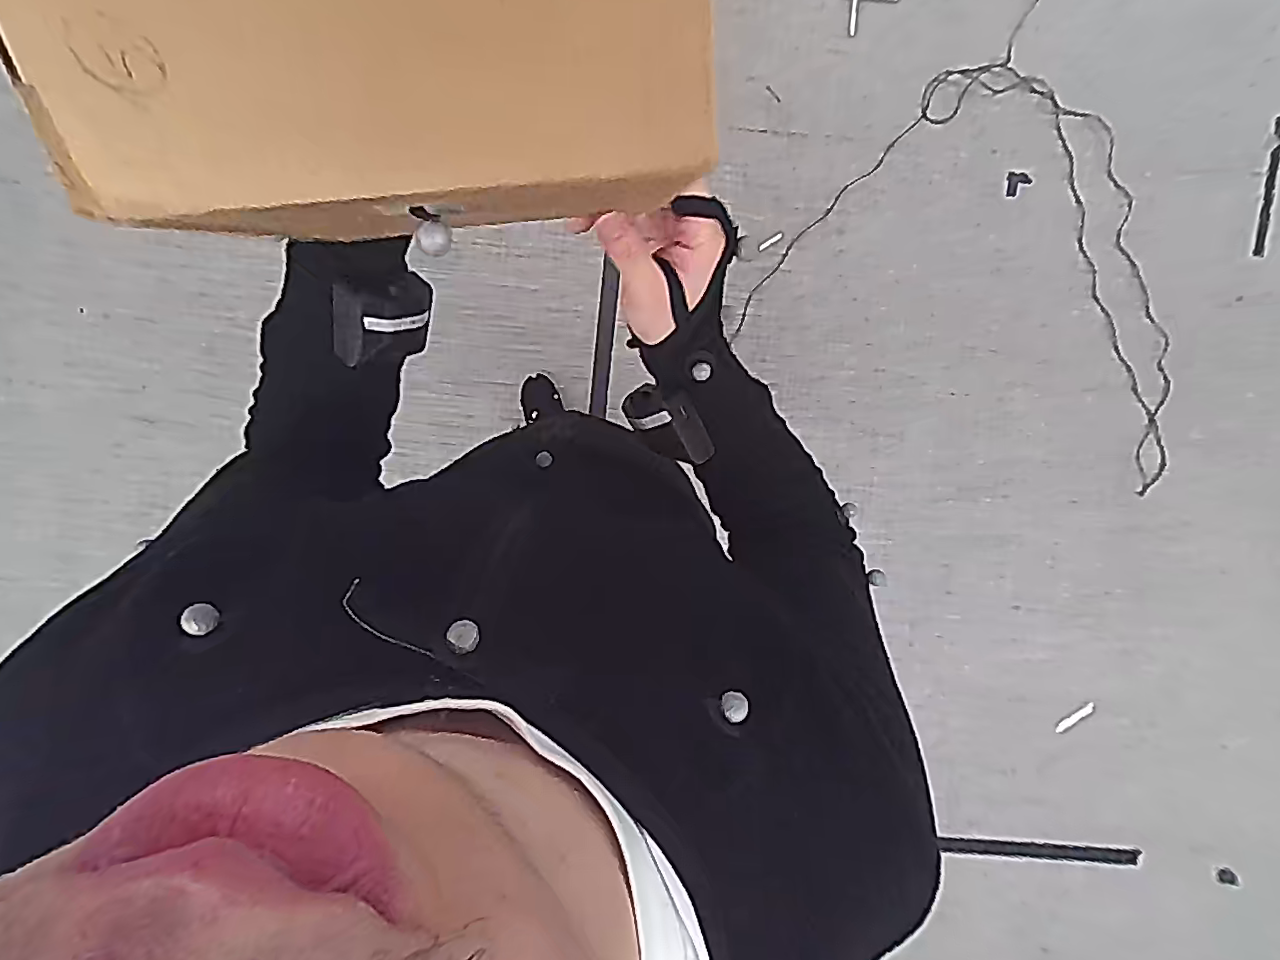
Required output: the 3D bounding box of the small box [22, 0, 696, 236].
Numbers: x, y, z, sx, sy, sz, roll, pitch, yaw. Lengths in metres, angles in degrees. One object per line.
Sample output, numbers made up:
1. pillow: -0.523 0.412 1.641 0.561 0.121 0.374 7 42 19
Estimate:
1. small box: -0.081 -0.192 0.202 0.179 0.176 0.168 -8 113 -1
